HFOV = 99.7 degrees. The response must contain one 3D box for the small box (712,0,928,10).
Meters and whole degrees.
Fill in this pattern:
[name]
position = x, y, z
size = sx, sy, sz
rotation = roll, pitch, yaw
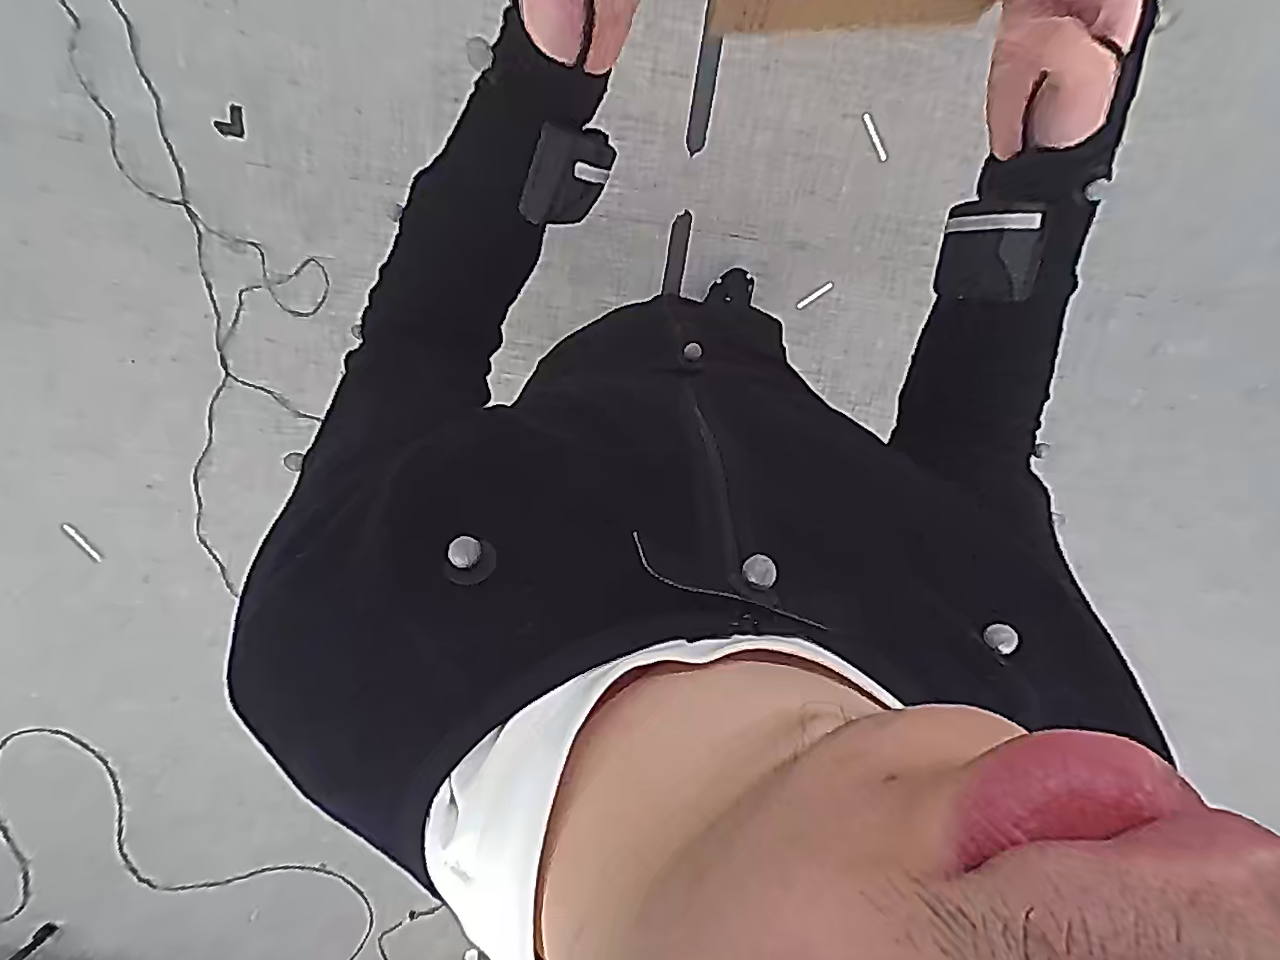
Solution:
[small box]
position = 0.122, -0.348, 0.247
size = 0.176, 0.168, 0.179
rotation = 1, 122, 5
